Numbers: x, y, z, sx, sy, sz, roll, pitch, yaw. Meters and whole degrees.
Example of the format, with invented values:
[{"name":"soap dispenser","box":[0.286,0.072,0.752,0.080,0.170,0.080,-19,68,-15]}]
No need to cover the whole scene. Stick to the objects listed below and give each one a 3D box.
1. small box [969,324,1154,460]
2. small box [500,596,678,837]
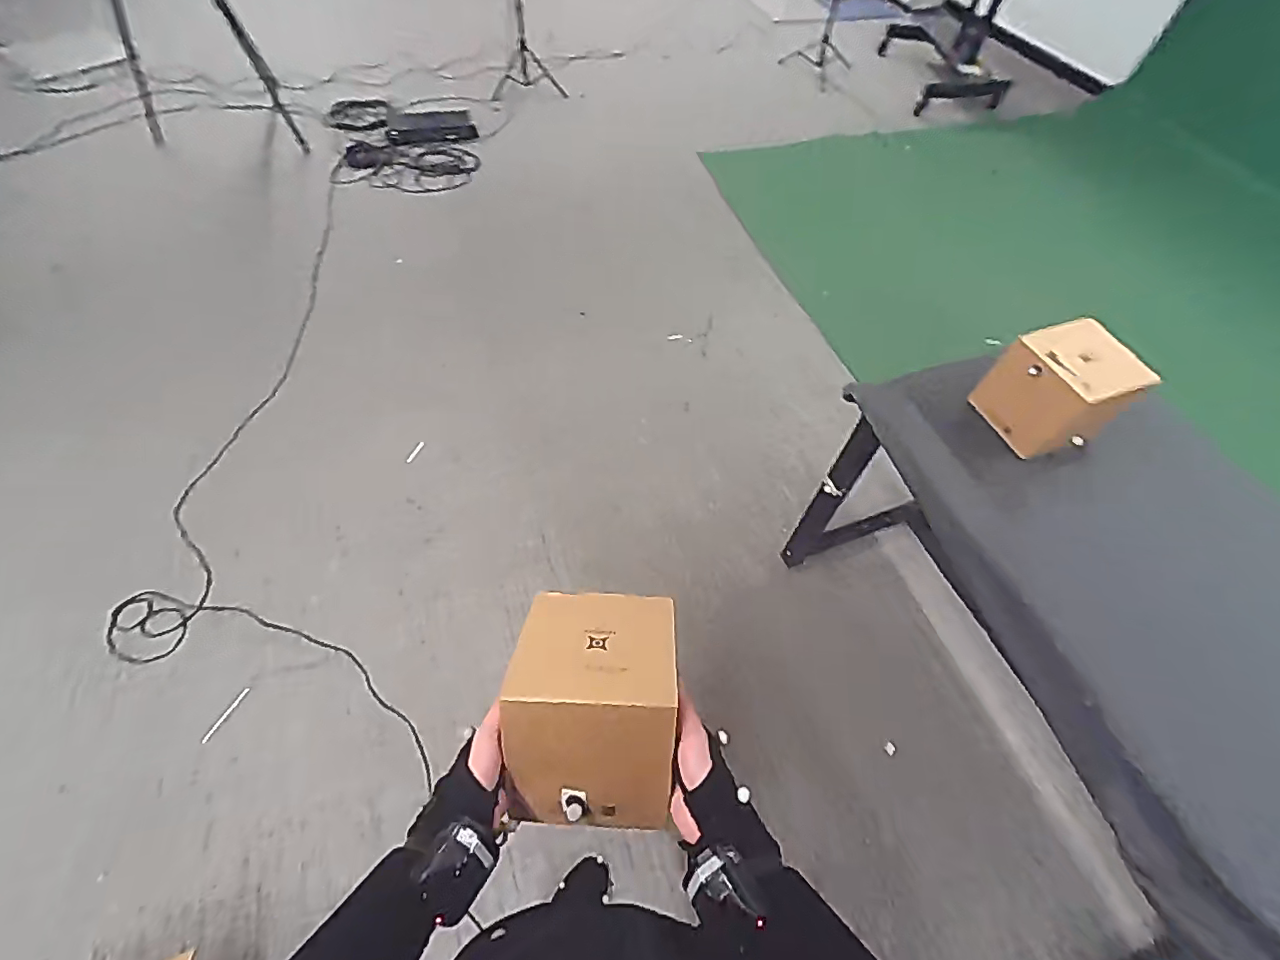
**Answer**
[{"name":"small box","box":[0.774,-0.162,1.016,0.179,0.176,0.168,-15,59,-15]},{"name":"small box","box":[-0.048,0.248,0.594,0.168,0.176,0.179,1,22,0]}]
